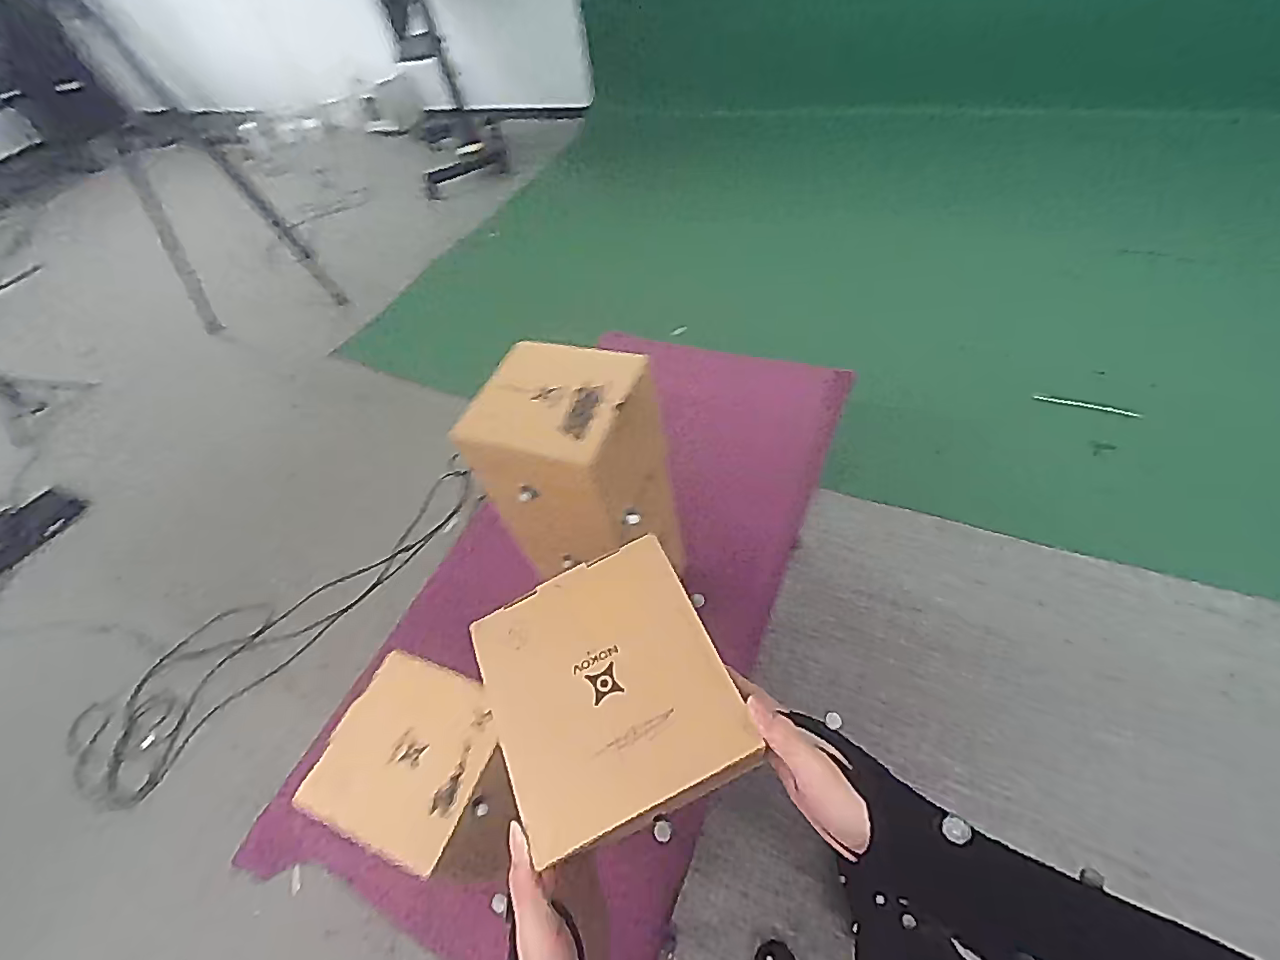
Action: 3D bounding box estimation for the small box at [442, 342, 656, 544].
[{"bbox_3d":[-0.092,-0.042,0.655,0.179,0.176,0.168,11,55,21],"label":"small box"}]

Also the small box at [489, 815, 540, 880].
[{"bbox_3d":[-0.216,0.421,0.740,0.179,0.176,0.168,11,55,19],"label":"small box"}]

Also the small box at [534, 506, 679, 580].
[{"bbox_3d":[-0.045,0.152,0.917,0.179,0.176,0.168,13,56,21],"label":"small box"}]

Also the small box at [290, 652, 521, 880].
[{"bbox_3d":[-0.229,0.324,0.609,0.179,0.176,0.168,13,56,20],"label":"small box"}]

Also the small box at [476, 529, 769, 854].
[{"bbox_3d":[-0.010,0.177,0.450,0.168,0.176,0.179,-25,58,-3],"label":"small box"}]
